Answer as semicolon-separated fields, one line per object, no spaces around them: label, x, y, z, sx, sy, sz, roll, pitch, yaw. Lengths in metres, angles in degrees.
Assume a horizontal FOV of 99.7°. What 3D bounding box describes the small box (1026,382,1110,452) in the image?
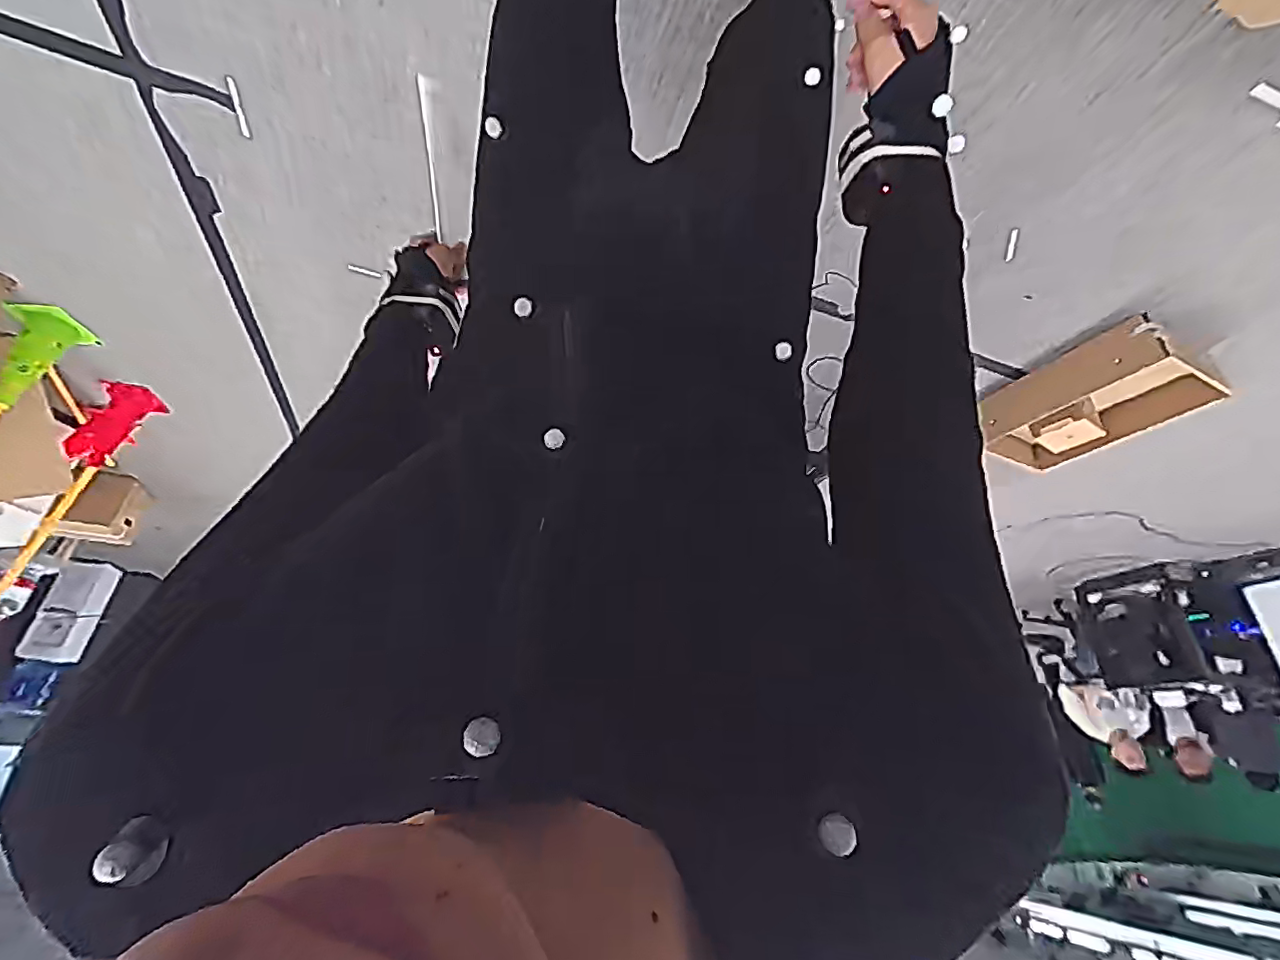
small box;1.546;-0.231;1.961;0.179;0.176;0.168;19;148;-28
